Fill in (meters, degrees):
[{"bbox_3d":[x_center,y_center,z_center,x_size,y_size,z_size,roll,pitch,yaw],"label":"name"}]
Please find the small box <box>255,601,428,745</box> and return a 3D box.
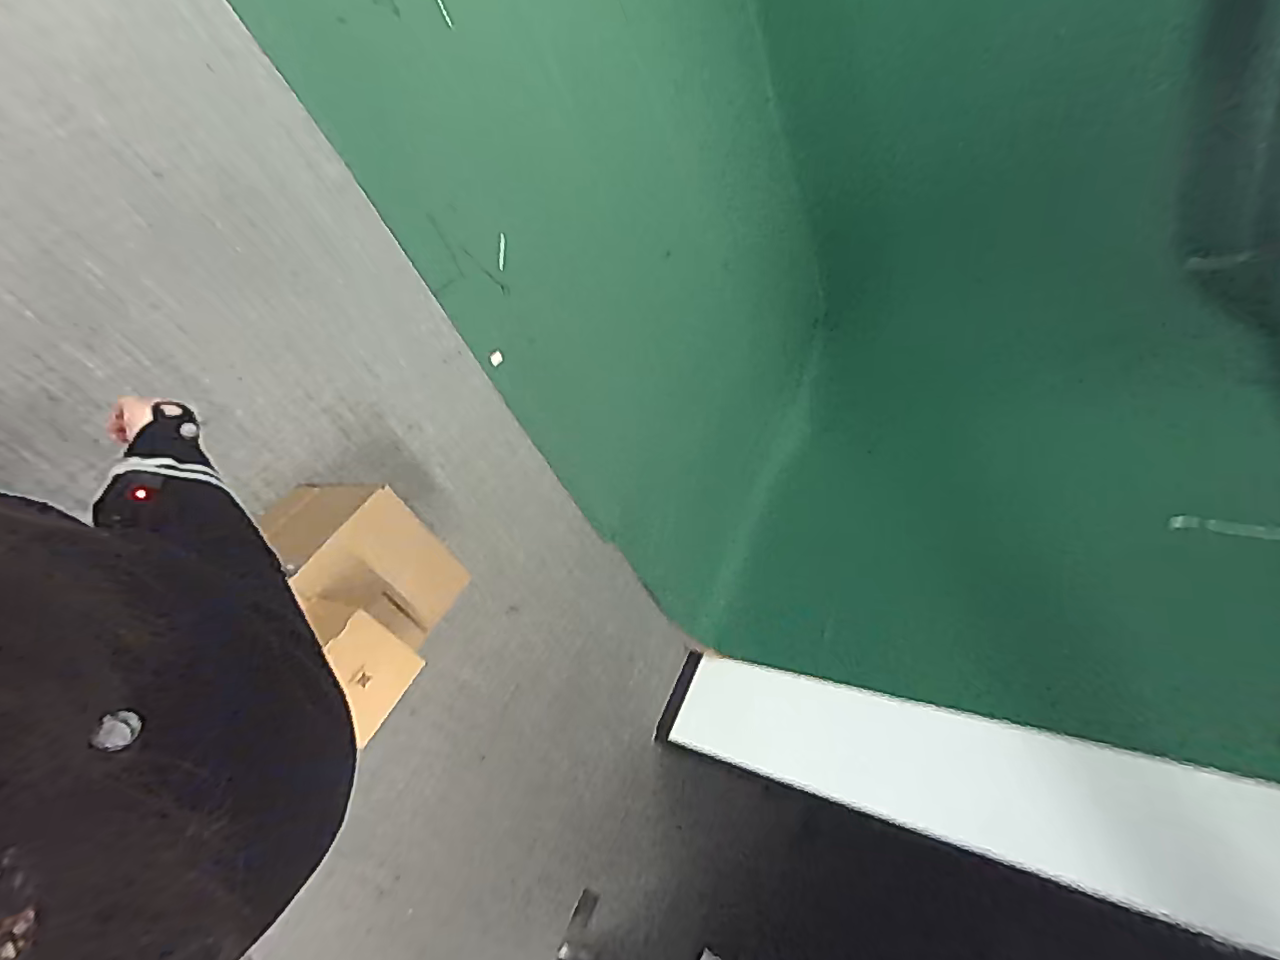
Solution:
[{"bbox_3d":[-0.529,0.334,0.965,0.168,0.176,0.179,-58,133,-35],"label":"small box"}]
